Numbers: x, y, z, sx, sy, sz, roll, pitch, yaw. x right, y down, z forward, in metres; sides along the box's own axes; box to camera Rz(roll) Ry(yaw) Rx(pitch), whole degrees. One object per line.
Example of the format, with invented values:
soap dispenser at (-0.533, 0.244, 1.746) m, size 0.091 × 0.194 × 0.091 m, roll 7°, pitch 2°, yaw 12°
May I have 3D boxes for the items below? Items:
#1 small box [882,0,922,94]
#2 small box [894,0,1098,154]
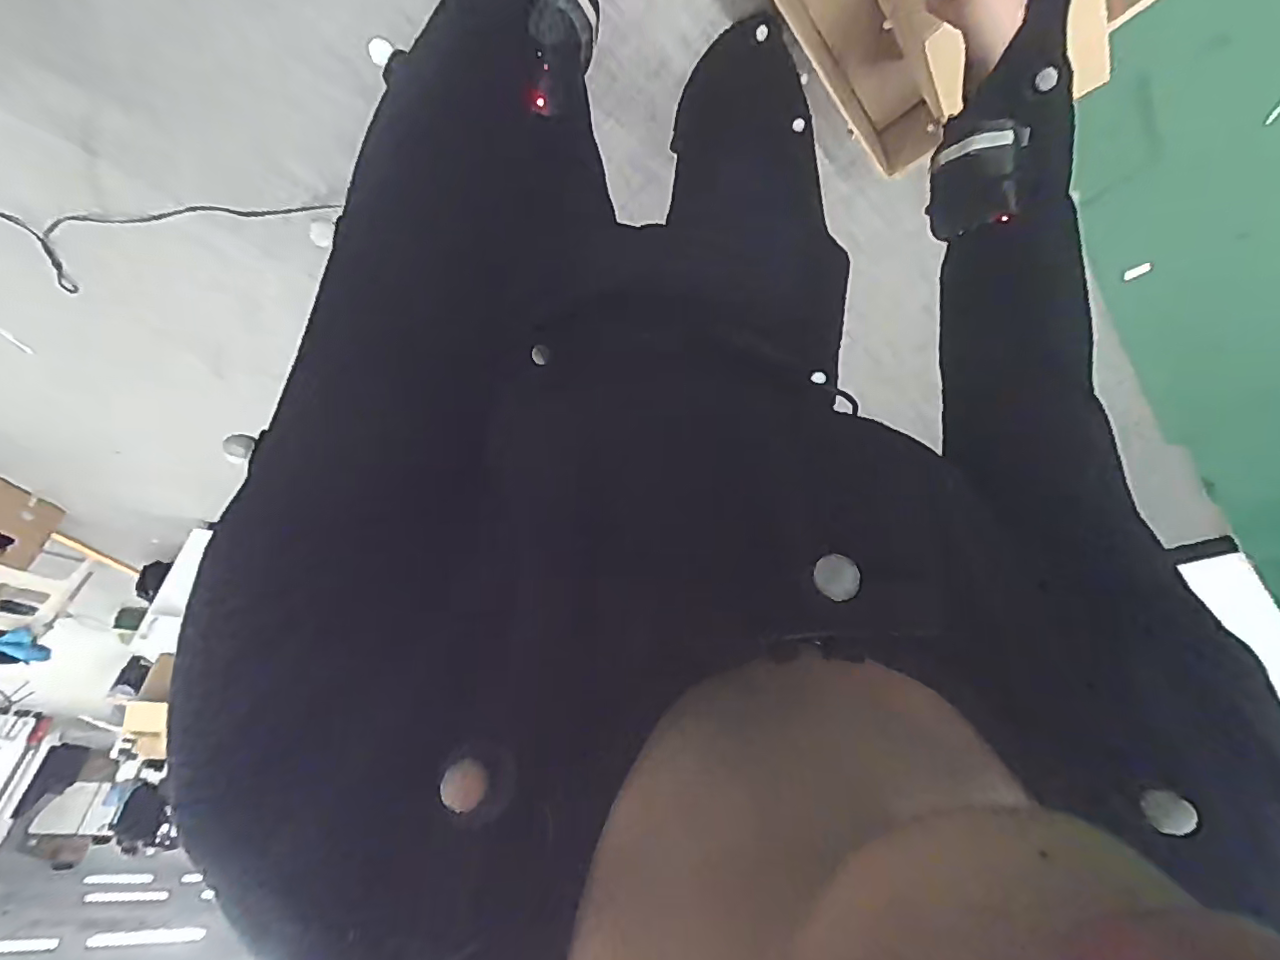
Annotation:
small box at (0.443, -0.706, 0.754) m, size 0.179 × 0.176 × 0.168 m, roll -20°, pitch 141°, yaw 34°
small box at (0.433, -0.565, 0.670) m, size 0.168 × 0.176 × 0.179 m, roll -20°, pitch 141°, yaw 32°
